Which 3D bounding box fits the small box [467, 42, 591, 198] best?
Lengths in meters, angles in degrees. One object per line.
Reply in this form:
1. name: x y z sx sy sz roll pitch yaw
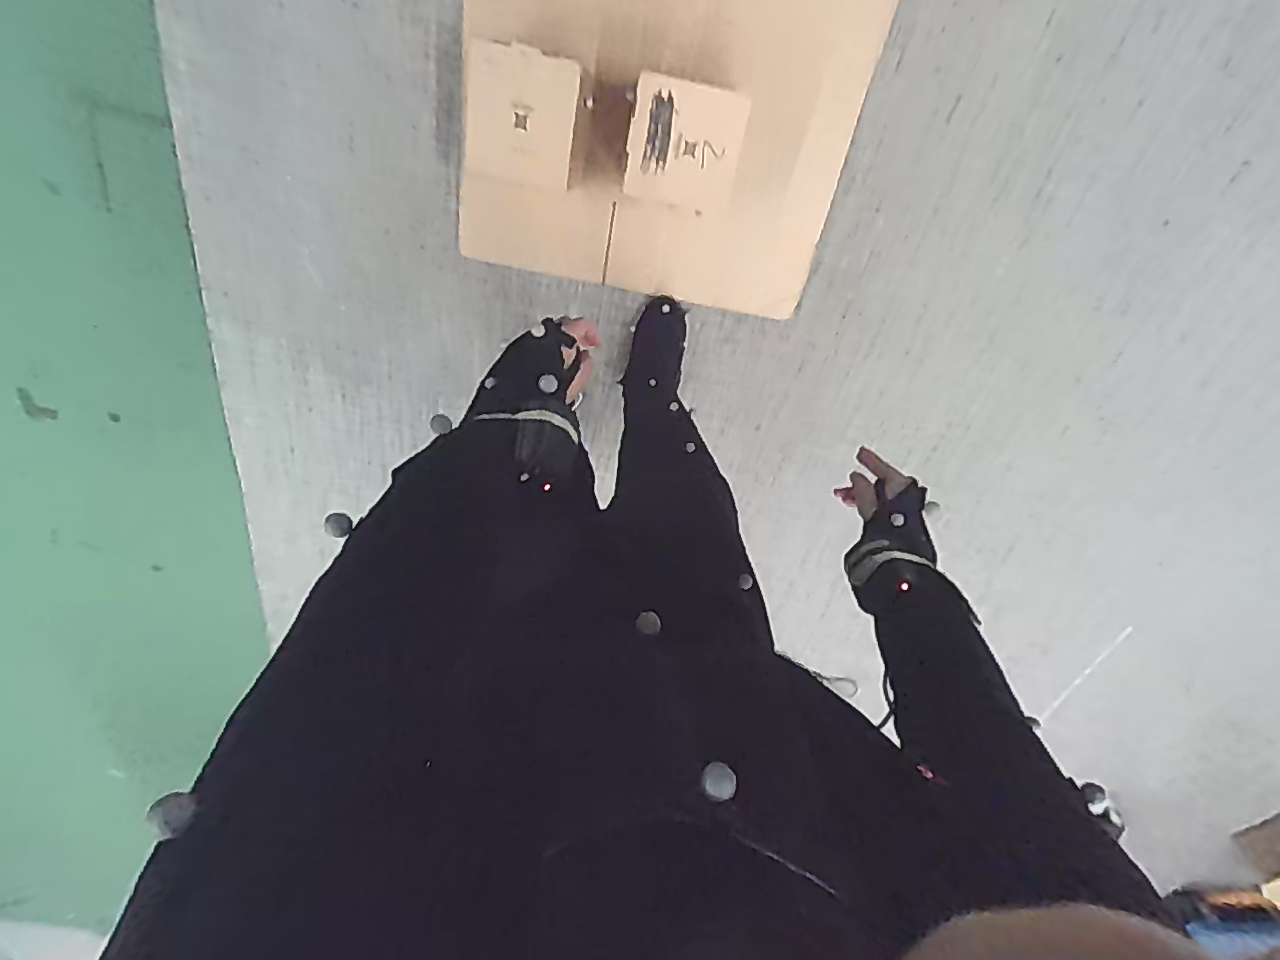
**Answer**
1. small box: -0.178 -0.587 0.898 0.168 0.176 0.179 11 121 -4
